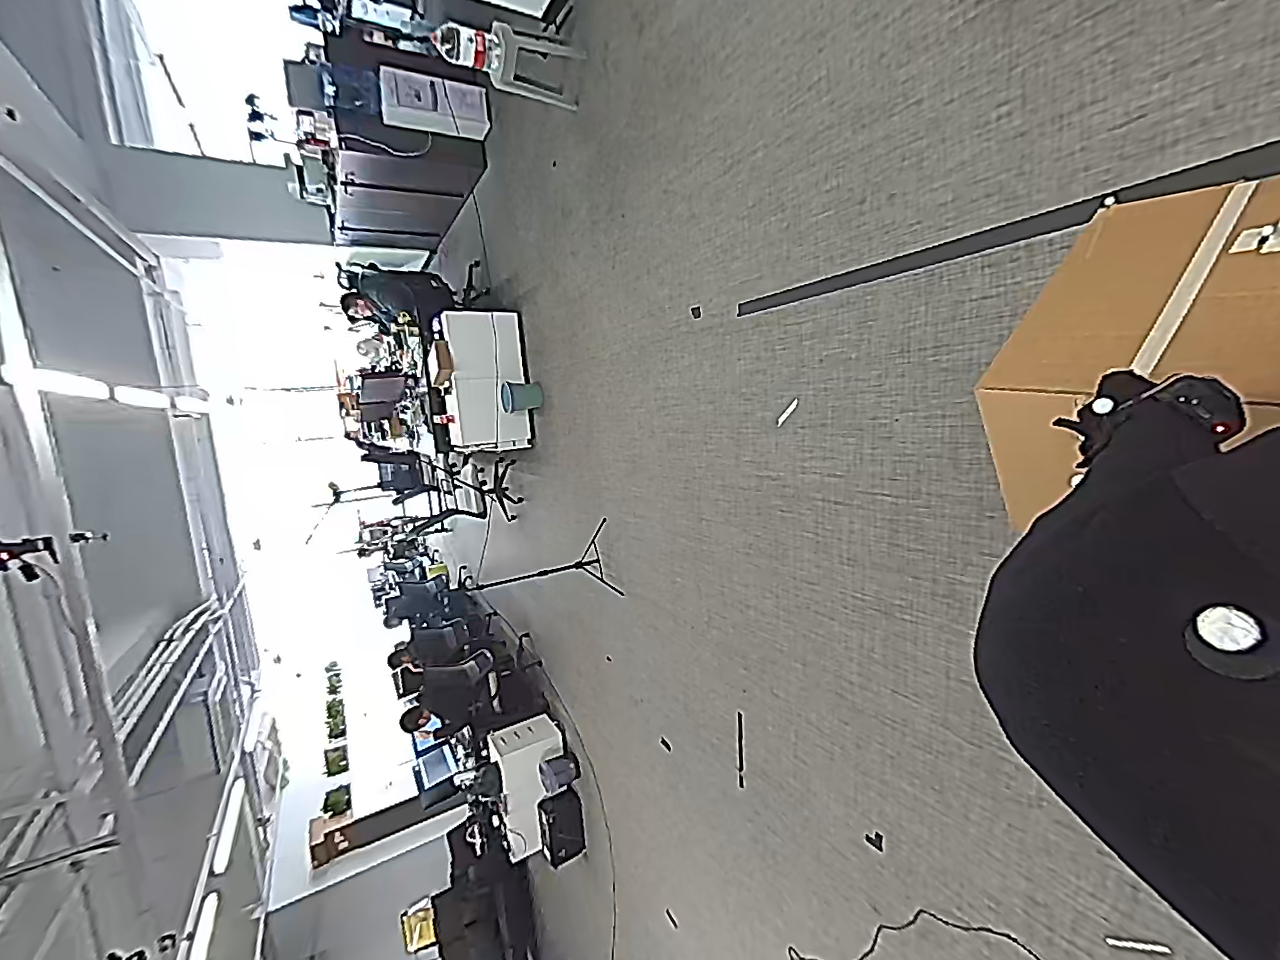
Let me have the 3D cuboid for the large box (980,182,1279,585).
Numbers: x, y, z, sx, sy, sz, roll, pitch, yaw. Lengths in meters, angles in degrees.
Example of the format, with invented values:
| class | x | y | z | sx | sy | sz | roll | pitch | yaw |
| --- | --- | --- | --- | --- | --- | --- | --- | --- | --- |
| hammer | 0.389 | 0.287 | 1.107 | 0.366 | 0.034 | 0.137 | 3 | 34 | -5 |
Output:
| class | x | y | z | sx | sy | sz | roll | pitch | yaw |
| --- | --- | --- | --- | --- | --- | --- | --- | --- | --- |
| large box | 0.742 | -0.134 | 0.732 | 0.320 | 0.408 | 0.320 | 21 | 154 | 54 |
